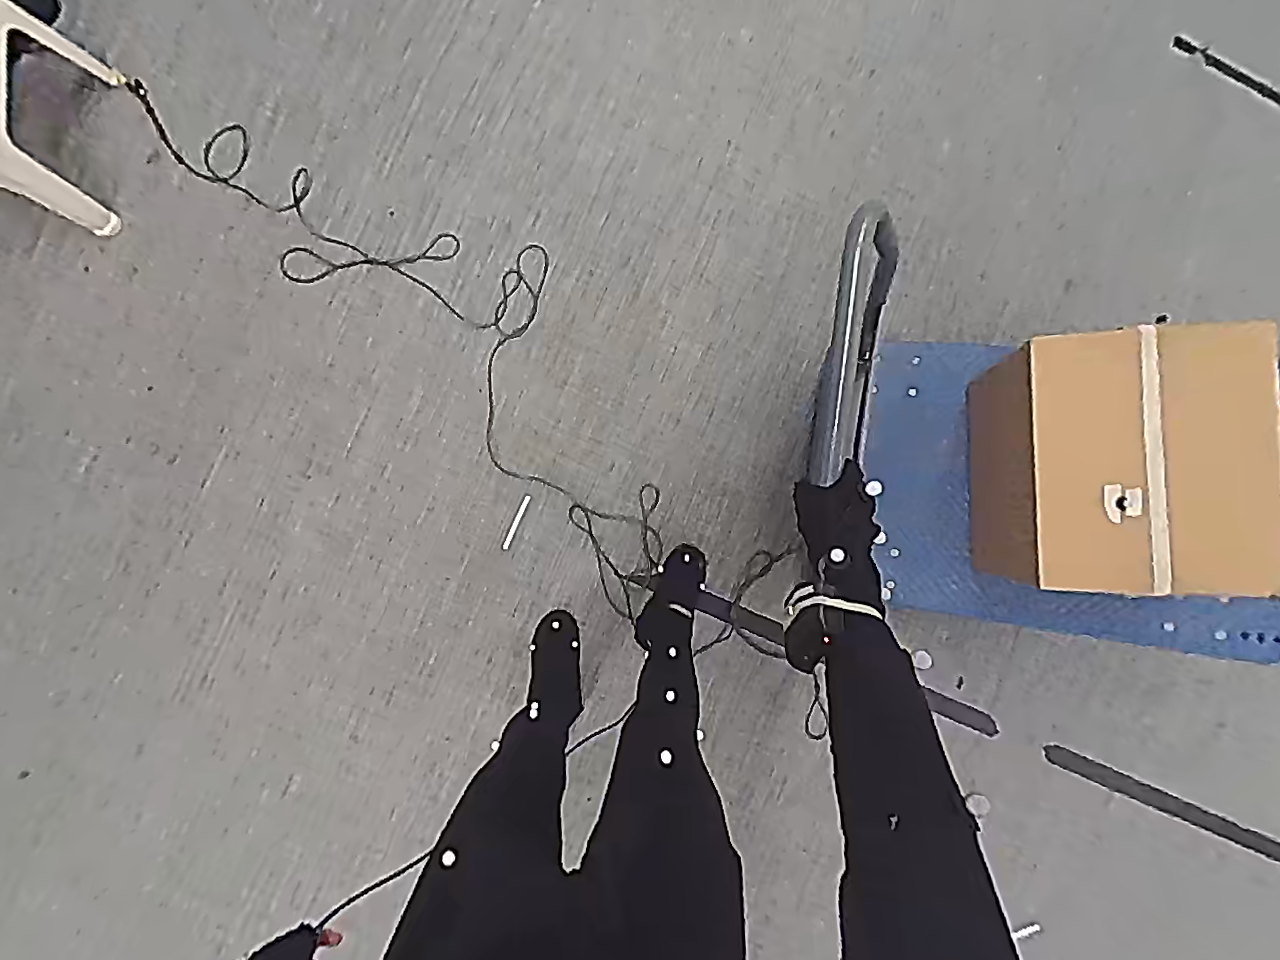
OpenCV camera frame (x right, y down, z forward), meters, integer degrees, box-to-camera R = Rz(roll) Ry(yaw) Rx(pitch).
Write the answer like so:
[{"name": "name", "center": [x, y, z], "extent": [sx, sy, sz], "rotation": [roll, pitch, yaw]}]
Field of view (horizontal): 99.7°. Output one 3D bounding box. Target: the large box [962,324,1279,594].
[{"name": "large box", "center": [0.806, -0.022, 0.968], "extent": [0.320, 0.320, 0.408], "rotation": [-2, 87, 15]}]
